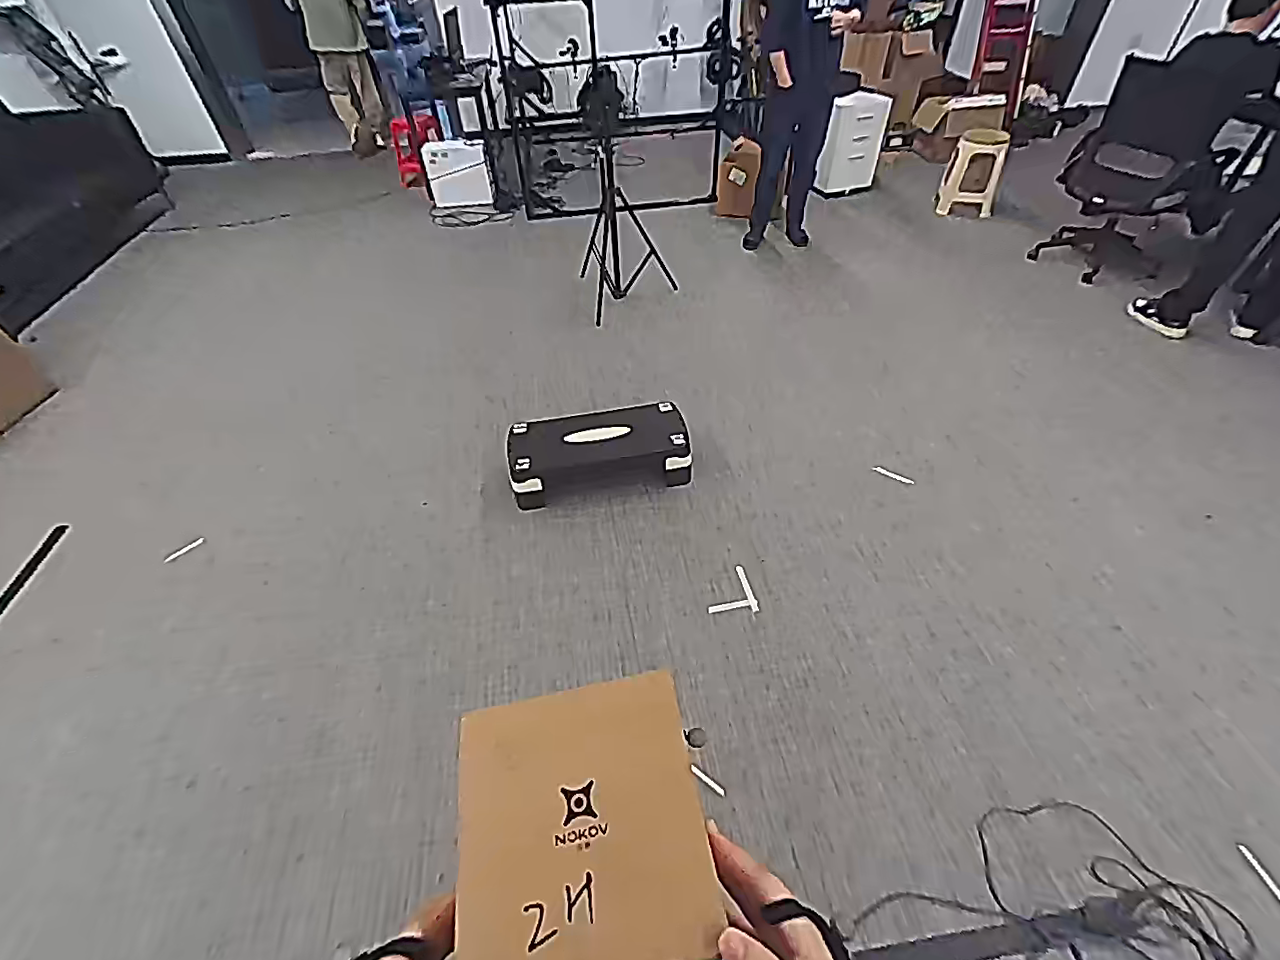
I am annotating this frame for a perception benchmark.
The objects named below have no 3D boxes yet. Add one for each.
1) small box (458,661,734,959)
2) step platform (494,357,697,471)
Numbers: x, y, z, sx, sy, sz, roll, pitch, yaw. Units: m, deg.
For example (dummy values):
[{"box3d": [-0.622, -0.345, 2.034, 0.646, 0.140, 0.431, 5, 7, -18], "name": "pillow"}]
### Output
[{"box3d": [-0.033, 0.273, 0.427, 0.168, 0.176, 0.179, -12, 50, -3], "name": "small box"}, {"box3d": [-0.149, -0.231, 1.894, 0.684, 0.204, 0.286, -9, 45, -7], "name": "step platform"}]
